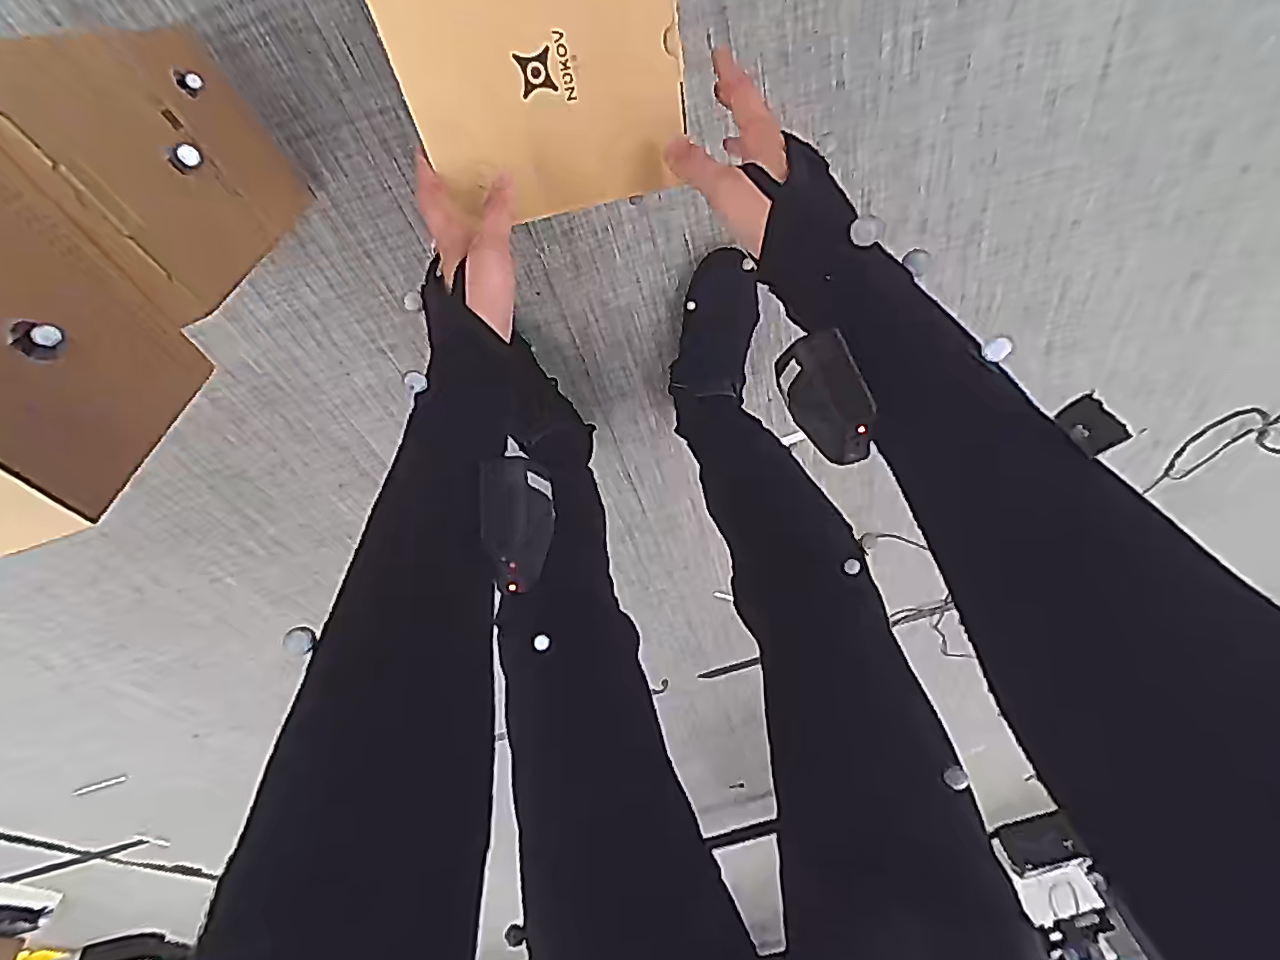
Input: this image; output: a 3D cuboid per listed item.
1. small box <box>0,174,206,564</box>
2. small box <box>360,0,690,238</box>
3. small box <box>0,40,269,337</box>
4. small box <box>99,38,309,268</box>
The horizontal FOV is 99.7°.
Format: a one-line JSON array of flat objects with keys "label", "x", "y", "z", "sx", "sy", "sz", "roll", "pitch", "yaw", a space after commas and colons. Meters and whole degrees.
[{"label": "small box", "x": -0.413, "y": -0.060, "z": 0.305, "sx": 0.168, "sy": 0.176, "sz": 0.179, "roll": -17, "pitch": 135, "yaw": 5}, {"label": "small box", "x": -0.075, "y": -0.301, "z": 0.388, "sx": 0.179, "sy": 0.176, "sz": 0.168, "roll": -15, "pitch": 134, "yaw": -1}, {"label": "small box", "x": -0.431, "y": -0.192, "z": 0.404, "sx": 0.179, "sy": 0.176, "sz": 0.168, "roll": -21, "pitch": 134, "yaw": 8}, {"label": "small box", "x": -0.470, "y": -0.296, "z": 0.526, "sx": 0.168, "sy": 0.176, "sz": 0.179, "roll": -20, "pitch": 134, "yaw": 6}]
